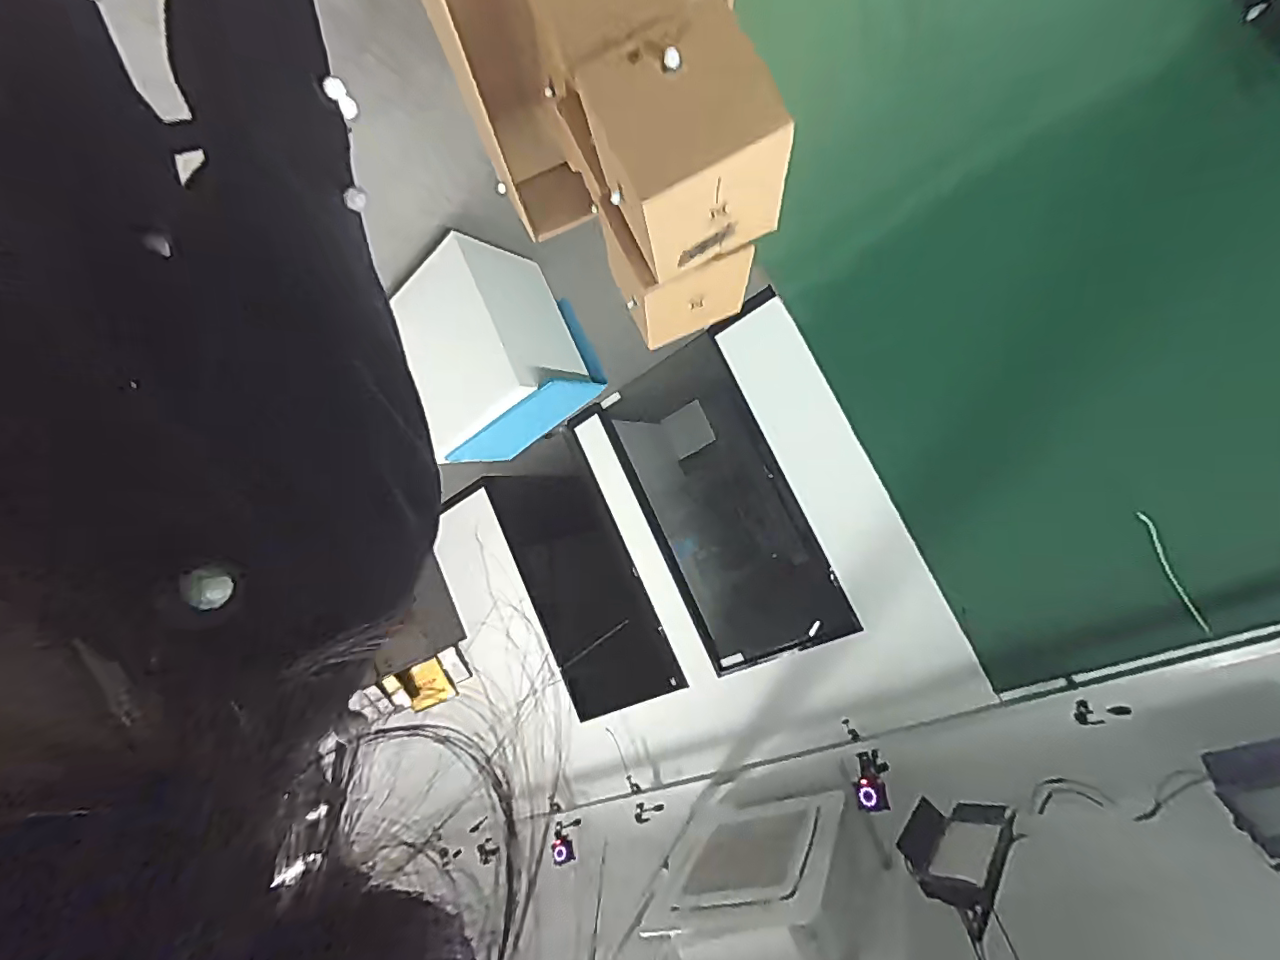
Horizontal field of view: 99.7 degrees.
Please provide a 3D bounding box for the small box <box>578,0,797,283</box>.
[{"bbox_3d":[0.052,-0.365,0.606,0.168,0.176,0.179,-27,170,4],"label":"small box"}]
